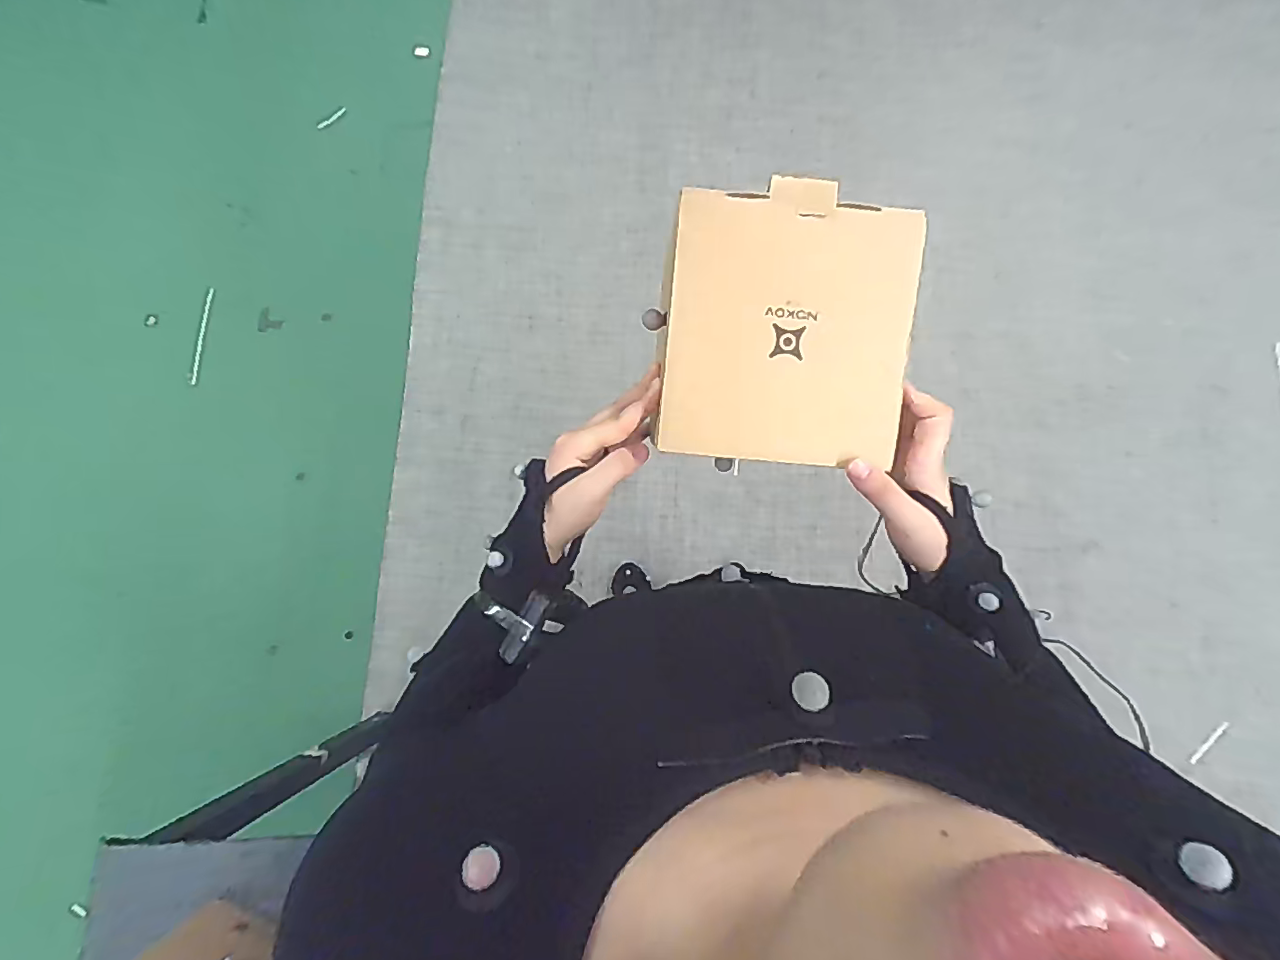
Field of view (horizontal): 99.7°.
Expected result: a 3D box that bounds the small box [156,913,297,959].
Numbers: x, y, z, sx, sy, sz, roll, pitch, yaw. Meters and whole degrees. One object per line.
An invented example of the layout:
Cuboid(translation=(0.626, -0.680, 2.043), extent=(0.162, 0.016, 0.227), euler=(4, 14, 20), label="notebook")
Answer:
Cuboid(translation=(-0.526, 0.663, 0.623), extent=(0.168, 0.176, 0.179), euler=(22, 85, 6), label="small box")

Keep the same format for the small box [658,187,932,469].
Cuboid(translation=(0.104, -0.108, 0.442), extent=(0.168, 0.176, 0.179), euler=(4, 95, -1), label="small box")
